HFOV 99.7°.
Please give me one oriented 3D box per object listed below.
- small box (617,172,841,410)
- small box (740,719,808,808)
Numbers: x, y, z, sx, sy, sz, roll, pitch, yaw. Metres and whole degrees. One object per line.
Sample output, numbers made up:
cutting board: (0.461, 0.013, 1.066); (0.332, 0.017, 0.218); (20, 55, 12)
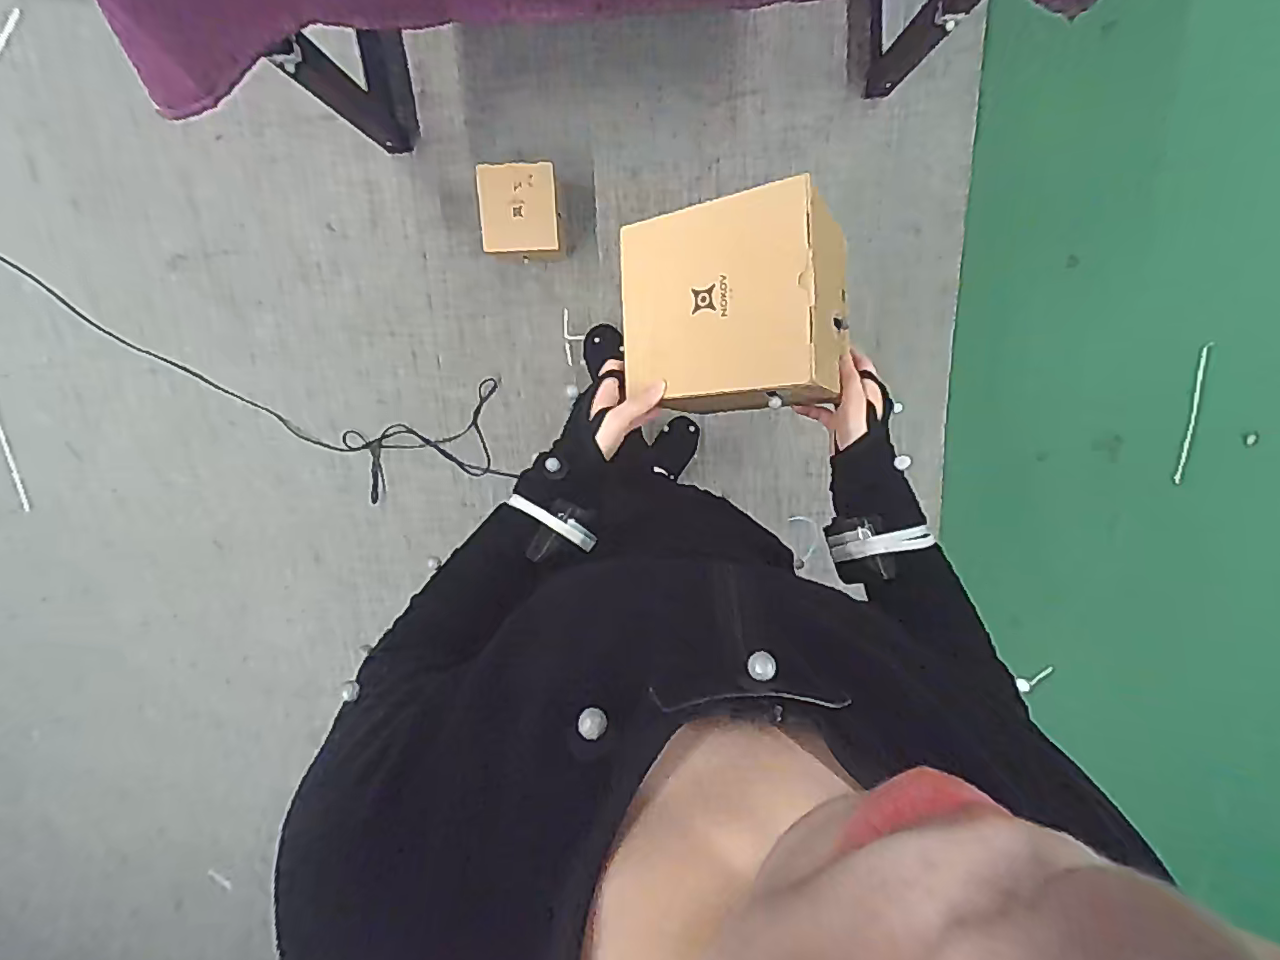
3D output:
small box: (0.094, -0.164, 0.541); (0.179, 0.176, 0.168); (-2, 91, 29)
small box: (0.392, 0.829, 1.597); (0.168, 0.176, 0.179); (-4, 105, 2)
